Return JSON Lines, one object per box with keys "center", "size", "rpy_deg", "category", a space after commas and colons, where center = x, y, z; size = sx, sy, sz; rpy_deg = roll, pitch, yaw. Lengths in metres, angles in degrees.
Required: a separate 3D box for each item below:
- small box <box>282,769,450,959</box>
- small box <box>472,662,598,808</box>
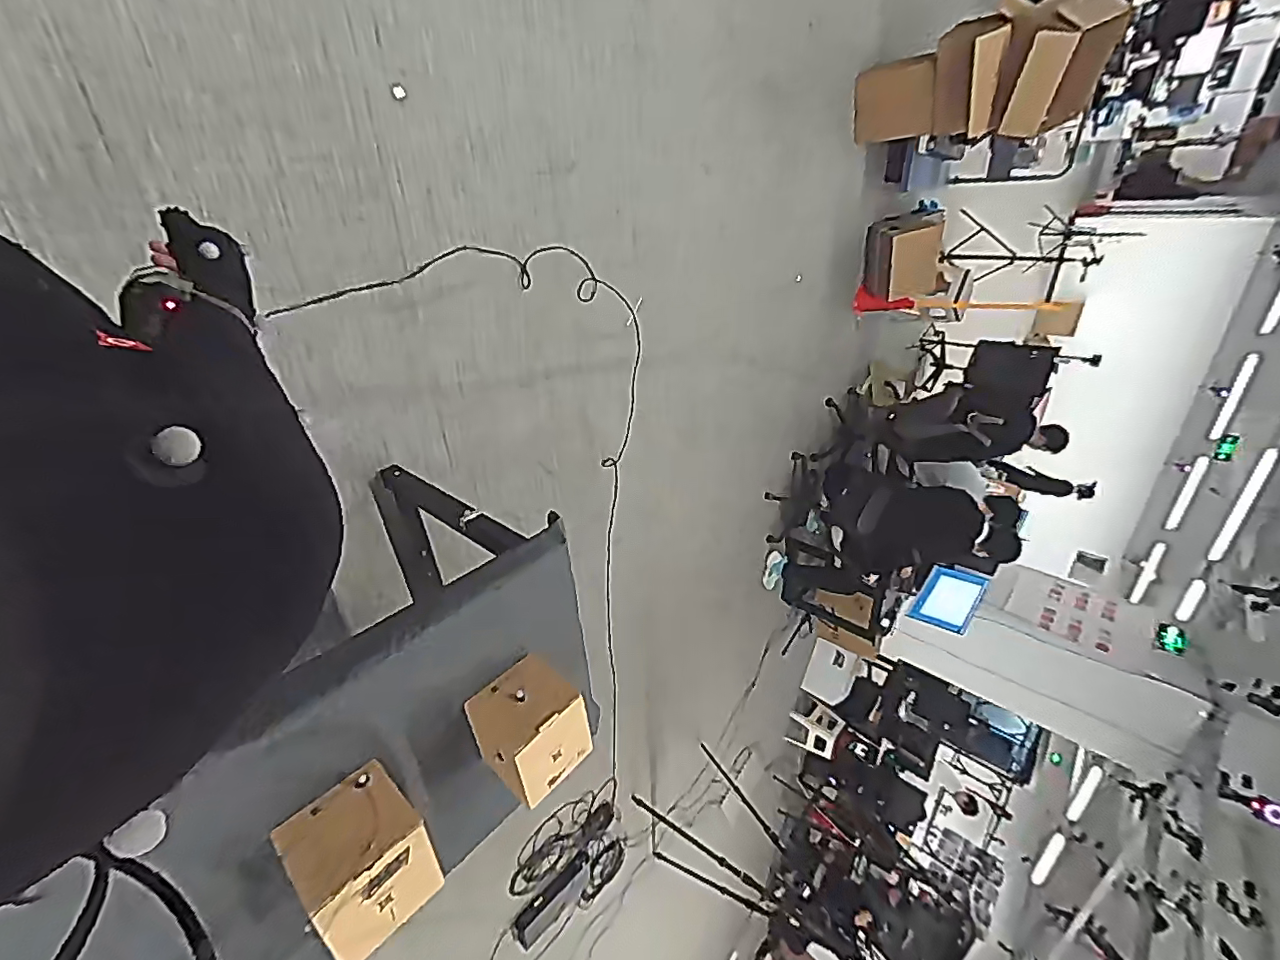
{"center": [-0.434, 0.602, 0.860], "size": [0.168, 0.176, 0.179], "rpy_deg": [-29, 128, -39], "category": "small box"}
{"center": [-0.209, 0.492, 1.078], "size": [0.168, 0.176, 0.179], "rpy_deg": [-32, 128, -37], "category": "small box"}
